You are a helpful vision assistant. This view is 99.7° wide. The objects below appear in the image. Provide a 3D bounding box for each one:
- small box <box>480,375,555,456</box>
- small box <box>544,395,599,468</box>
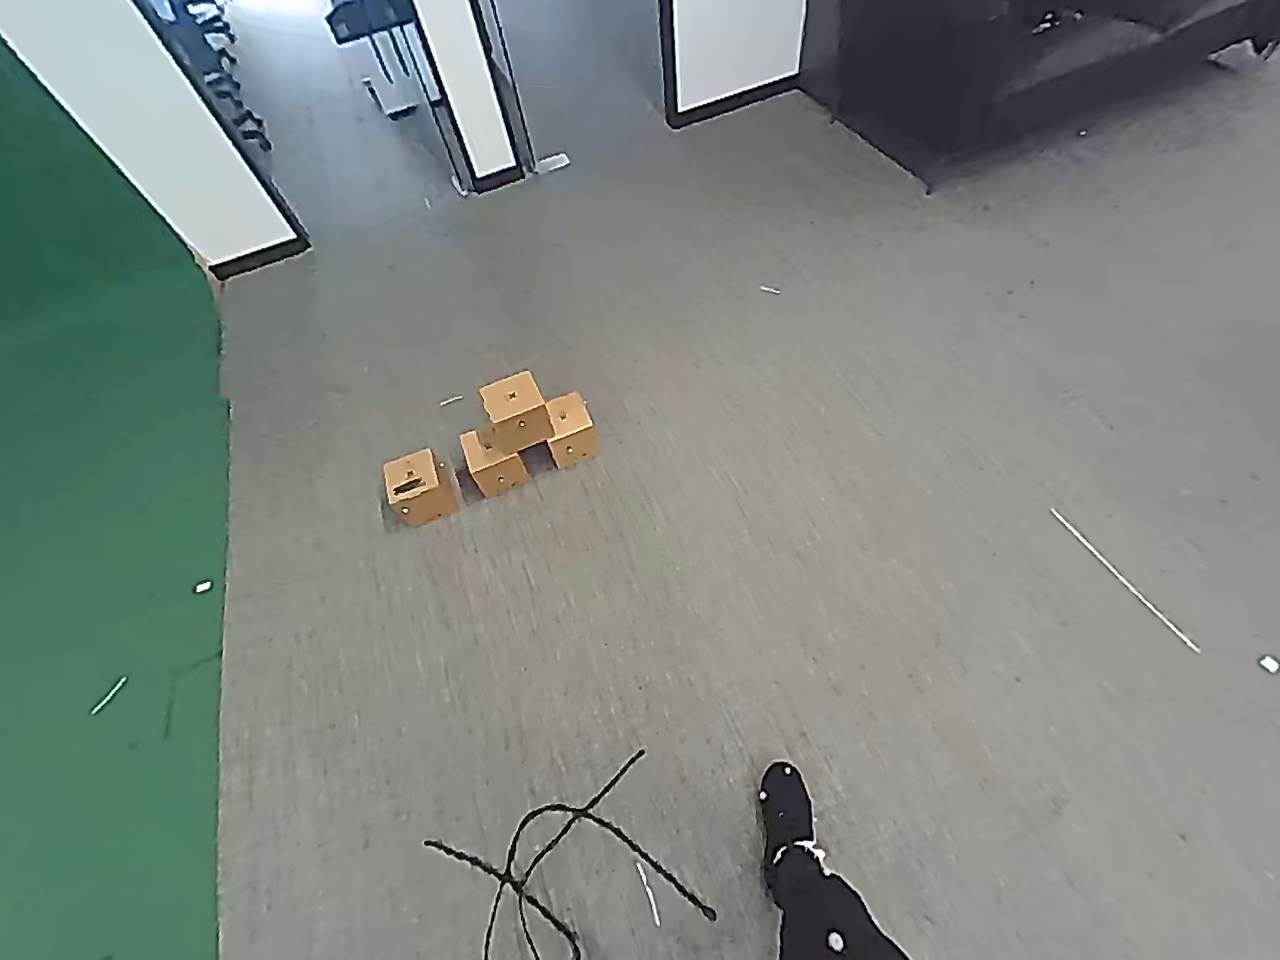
[{"bbox_3d":[-0.398,-0.206,1.768,0.179,0.176,0.168,-23,58,-10],"label":"small box"},{"bbox_3d":[-0.256,-0.163,1.919,0.168,0.176,0.179,-22,57,-7],"label":"small box"}]
